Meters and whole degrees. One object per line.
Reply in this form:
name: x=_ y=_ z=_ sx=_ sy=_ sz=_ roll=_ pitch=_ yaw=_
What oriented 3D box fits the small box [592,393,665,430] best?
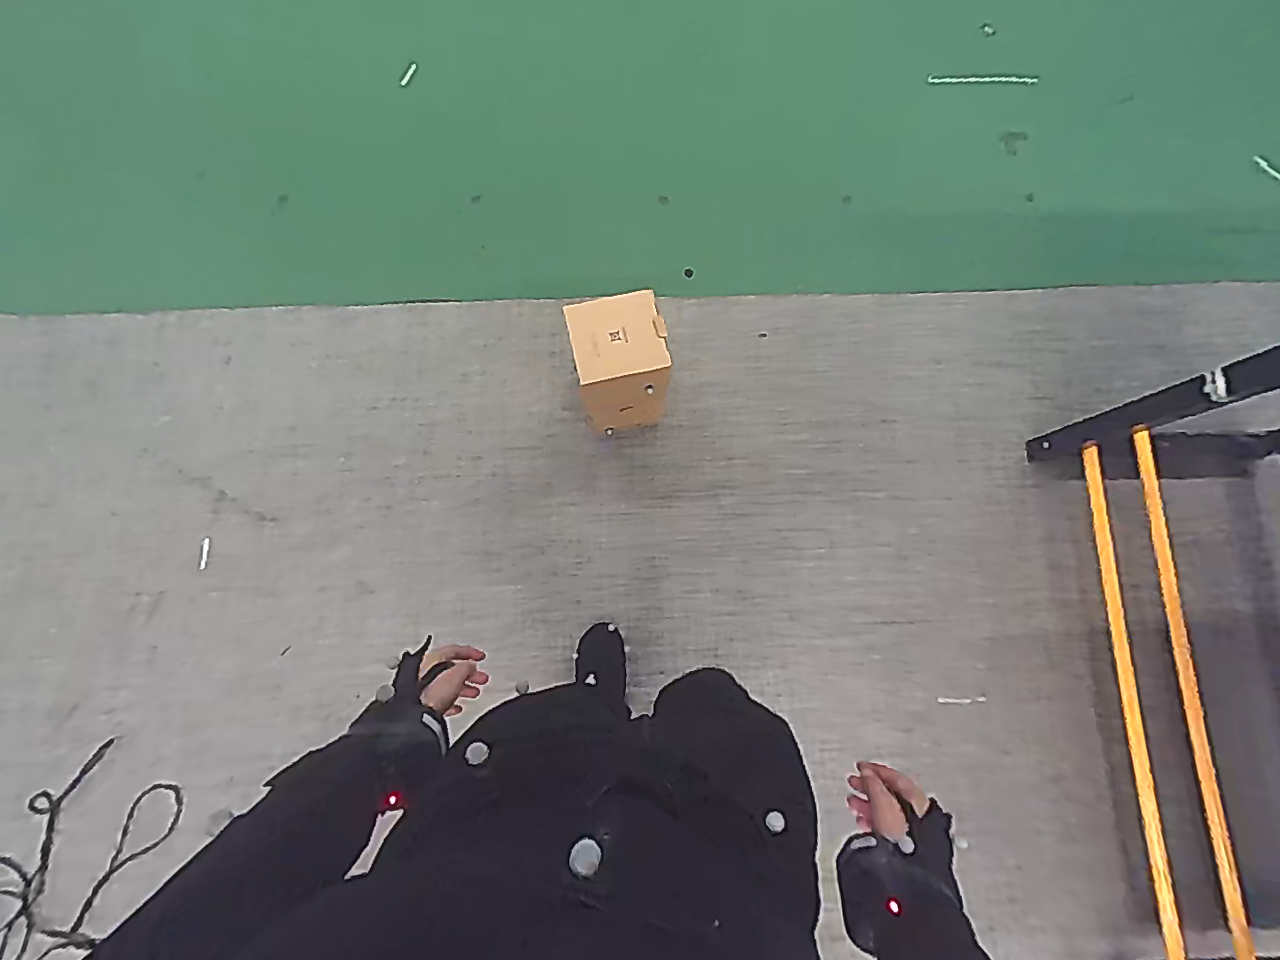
small box: x=-0.039 y=-0.224 z=1.249 sx=0.168 sy=0.176 sz=0.179 roll=-11 pitch=78 yaw=-4

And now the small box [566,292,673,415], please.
small box: x=-0.041 y=-0.248 z=1.088 sx=0.179 sy=0.176 sz=0.168 roll=-14 pitch=77 yaw=-3
